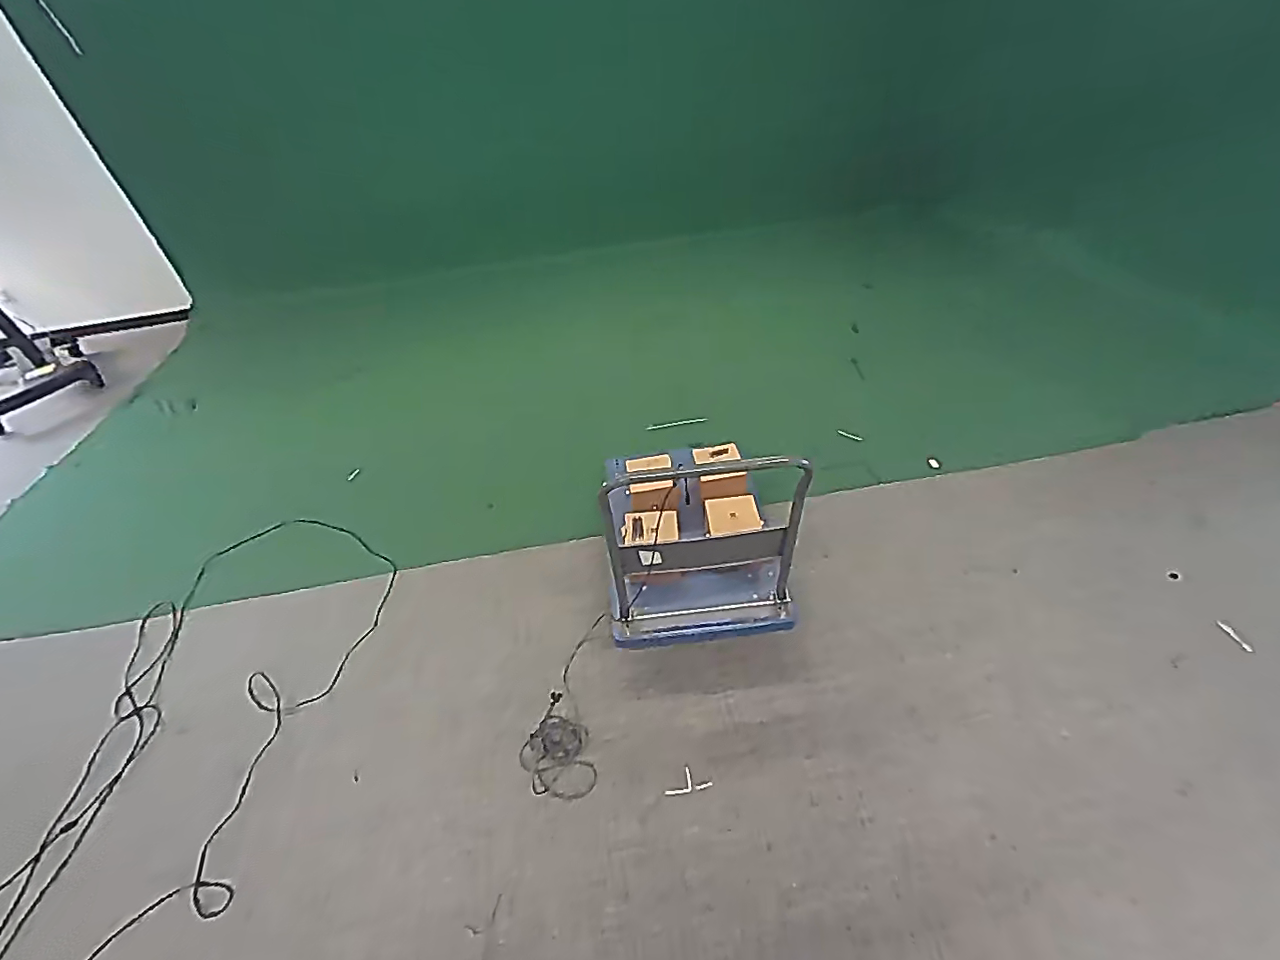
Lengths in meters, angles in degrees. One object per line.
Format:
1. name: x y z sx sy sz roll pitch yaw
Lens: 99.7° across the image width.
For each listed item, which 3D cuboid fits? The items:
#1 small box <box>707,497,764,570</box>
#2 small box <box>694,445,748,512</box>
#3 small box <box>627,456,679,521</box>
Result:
1. small box: 0.316 0.181 1.821 0.168 0.176 0.179 -6 44 2
2. small box: 0.297 -0.003 2.018 0.168 0.176 0.179 -10 44 -1
3. small box: 0.049 0.039 2.010 0.168 0.176 0.179 -9 43 -2
